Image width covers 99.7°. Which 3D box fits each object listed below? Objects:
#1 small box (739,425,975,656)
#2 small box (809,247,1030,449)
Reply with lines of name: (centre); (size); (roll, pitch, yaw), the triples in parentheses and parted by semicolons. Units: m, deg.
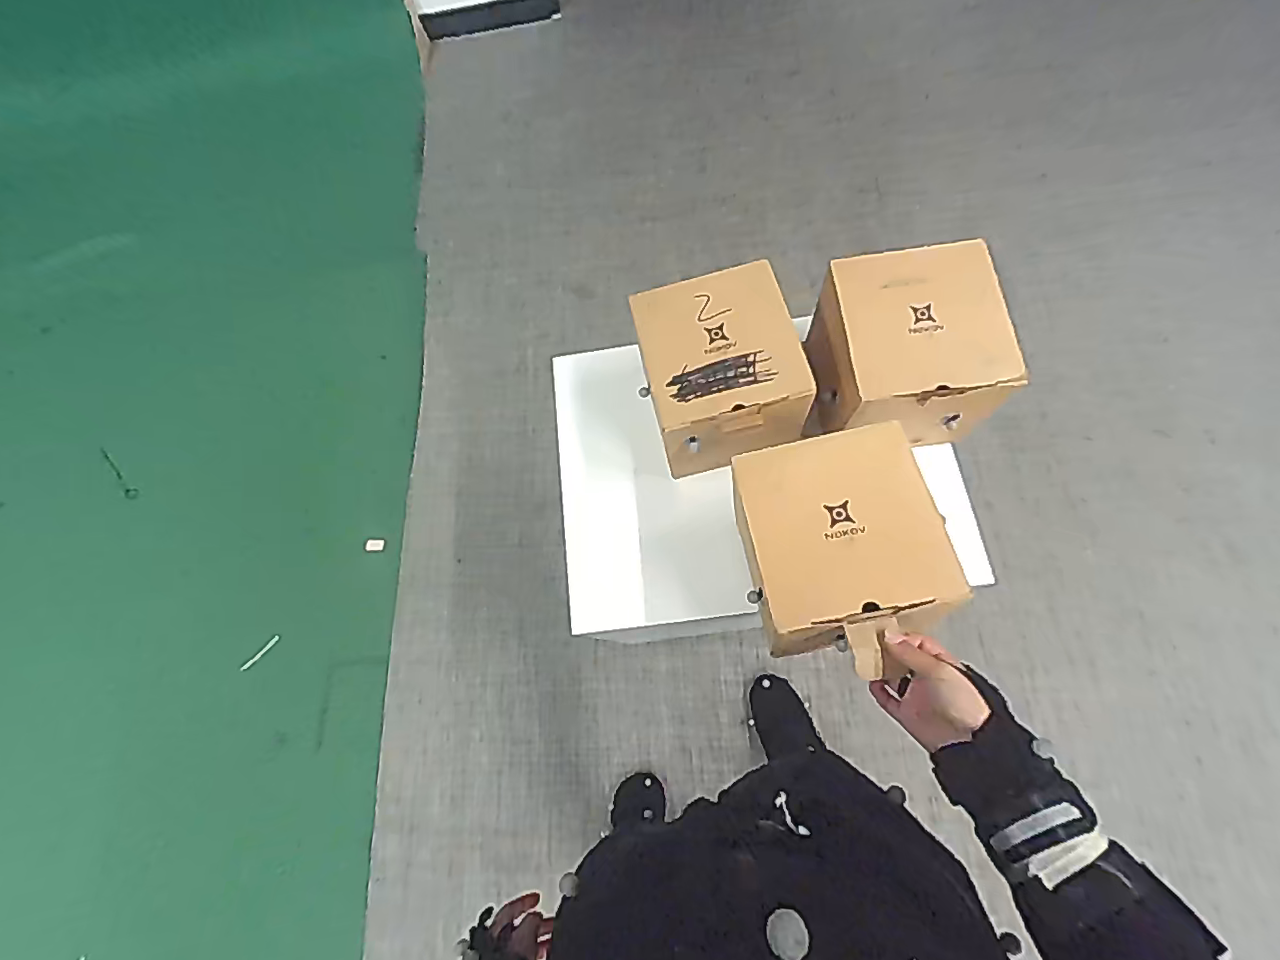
small box: (0.200, 0.072, 0.560); (0.168, 0.176, 0.179); (-13, 64, 7)
small box: (0.308, -0.137, 0.640); (0.168, 0.176, 0.179); (-7, 71, 5)
